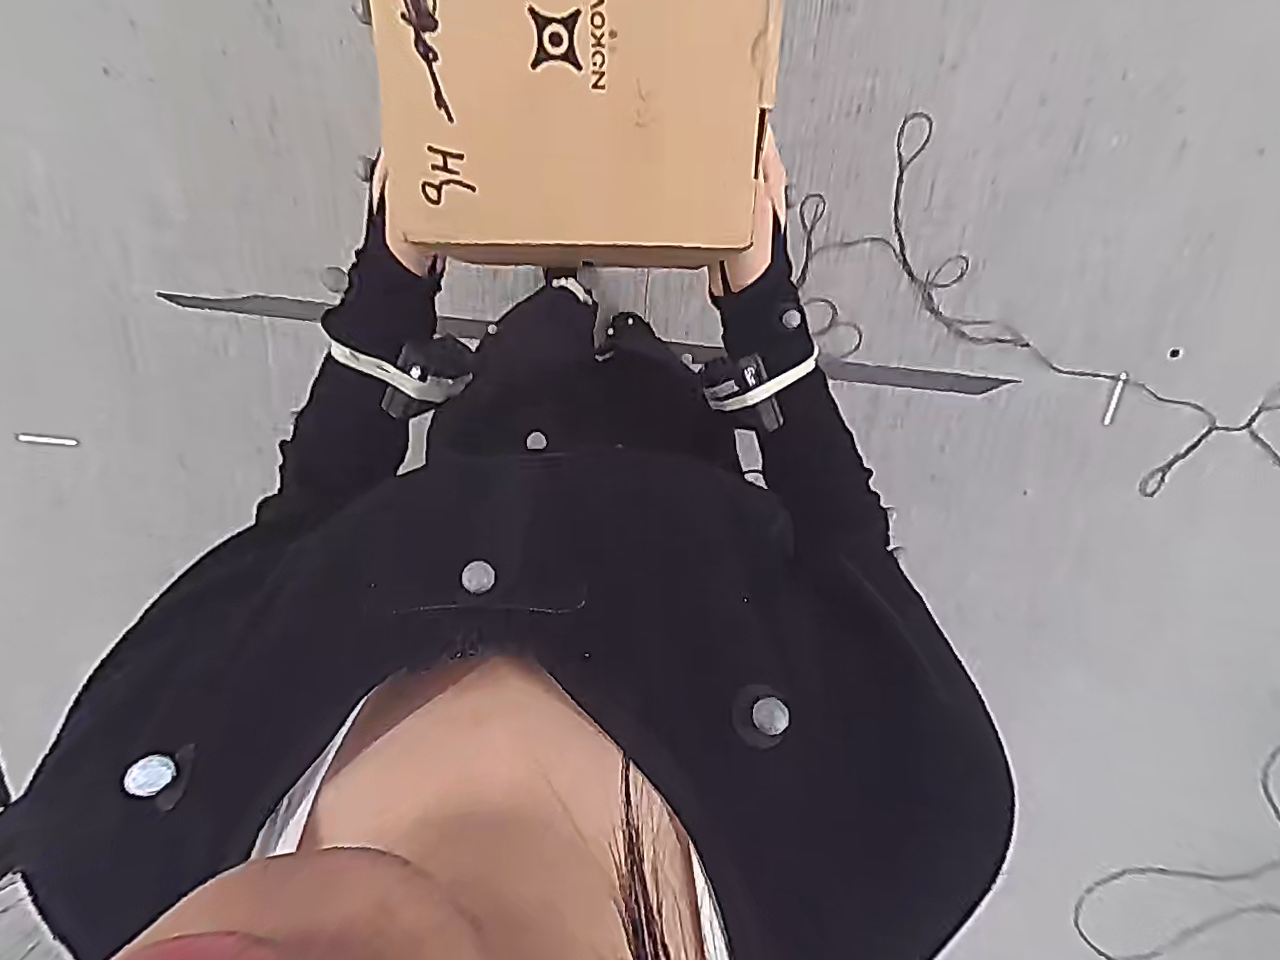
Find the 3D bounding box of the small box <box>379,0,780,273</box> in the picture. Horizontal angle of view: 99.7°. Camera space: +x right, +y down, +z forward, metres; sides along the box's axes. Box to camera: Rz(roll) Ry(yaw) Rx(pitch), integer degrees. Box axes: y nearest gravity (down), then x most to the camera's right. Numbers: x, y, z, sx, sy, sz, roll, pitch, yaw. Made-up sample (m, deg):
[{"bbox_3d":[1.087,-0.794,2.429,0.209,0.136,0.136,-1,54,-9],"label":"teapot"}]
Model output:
[{"bbox_3d":[-0.032,-0.216,0.316,0.179,0.176,0.168,-1,108,-5],"label":"small box"}]
